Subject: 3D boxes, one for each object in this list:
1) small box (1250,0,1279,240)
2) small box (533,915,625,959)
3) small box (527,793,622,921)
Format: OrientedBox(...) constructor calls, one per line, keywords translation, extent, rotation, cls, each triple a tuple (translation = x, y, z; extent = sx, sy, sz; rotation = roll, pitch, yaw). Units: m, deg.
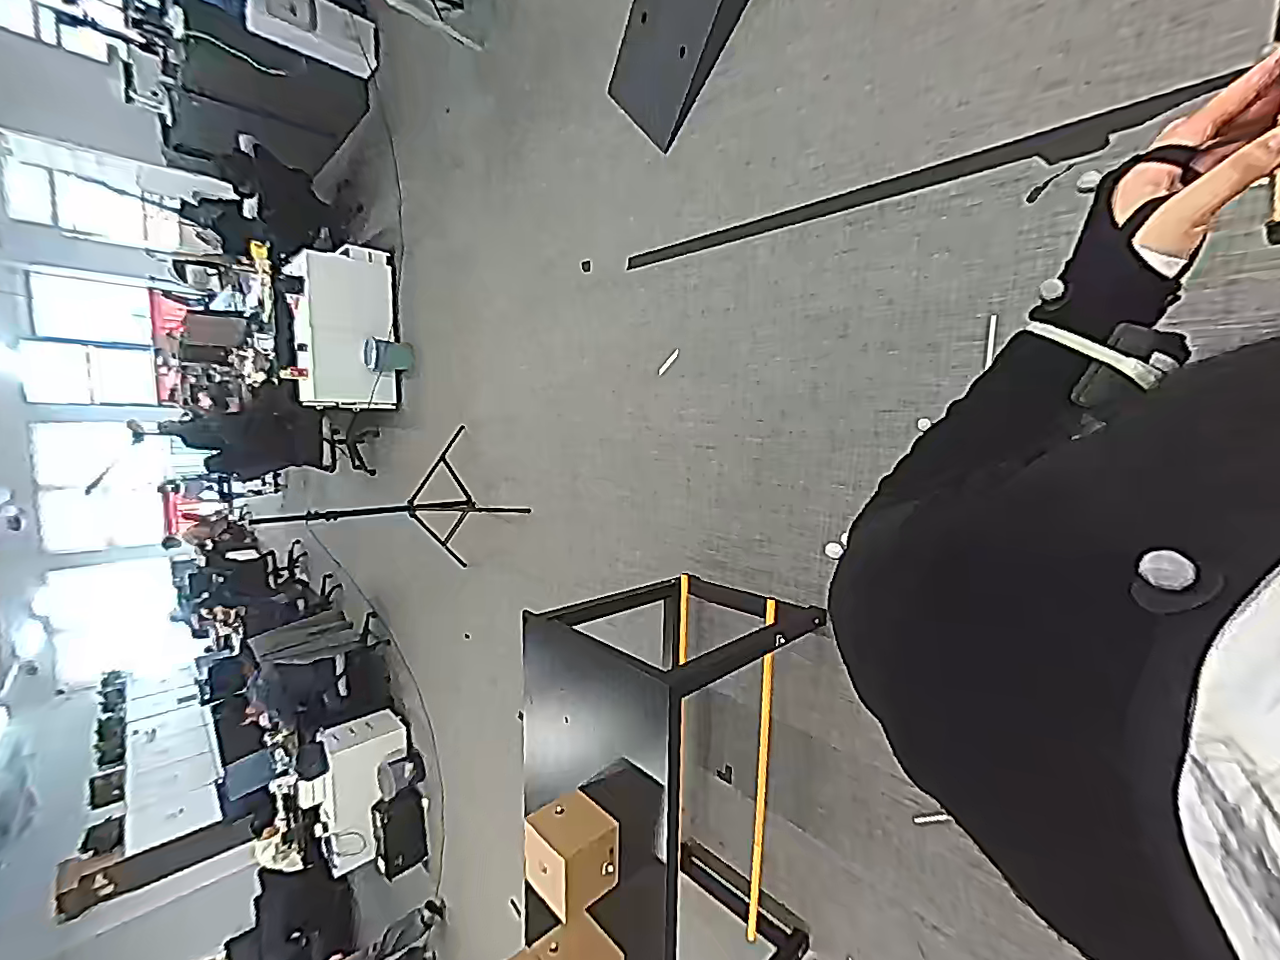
OrientedBox(translation=(0.477, -0.239, 0.294), extent=(0.179, 0.176, 0.168), rotation=(7, 107, 49), cls="small box")
OrientedBox(translation=(-0.155, 1.254, 1.360), extent=(0.179, 0.176, 0.168), rotation=(10, 101, 46), cls="small box")
OrientedBox(translation=(-0.163, 0.917, 1.342), extent=(0.179, 0.176, 0.168), rotation=(7, 100, 46), cls="small box")
